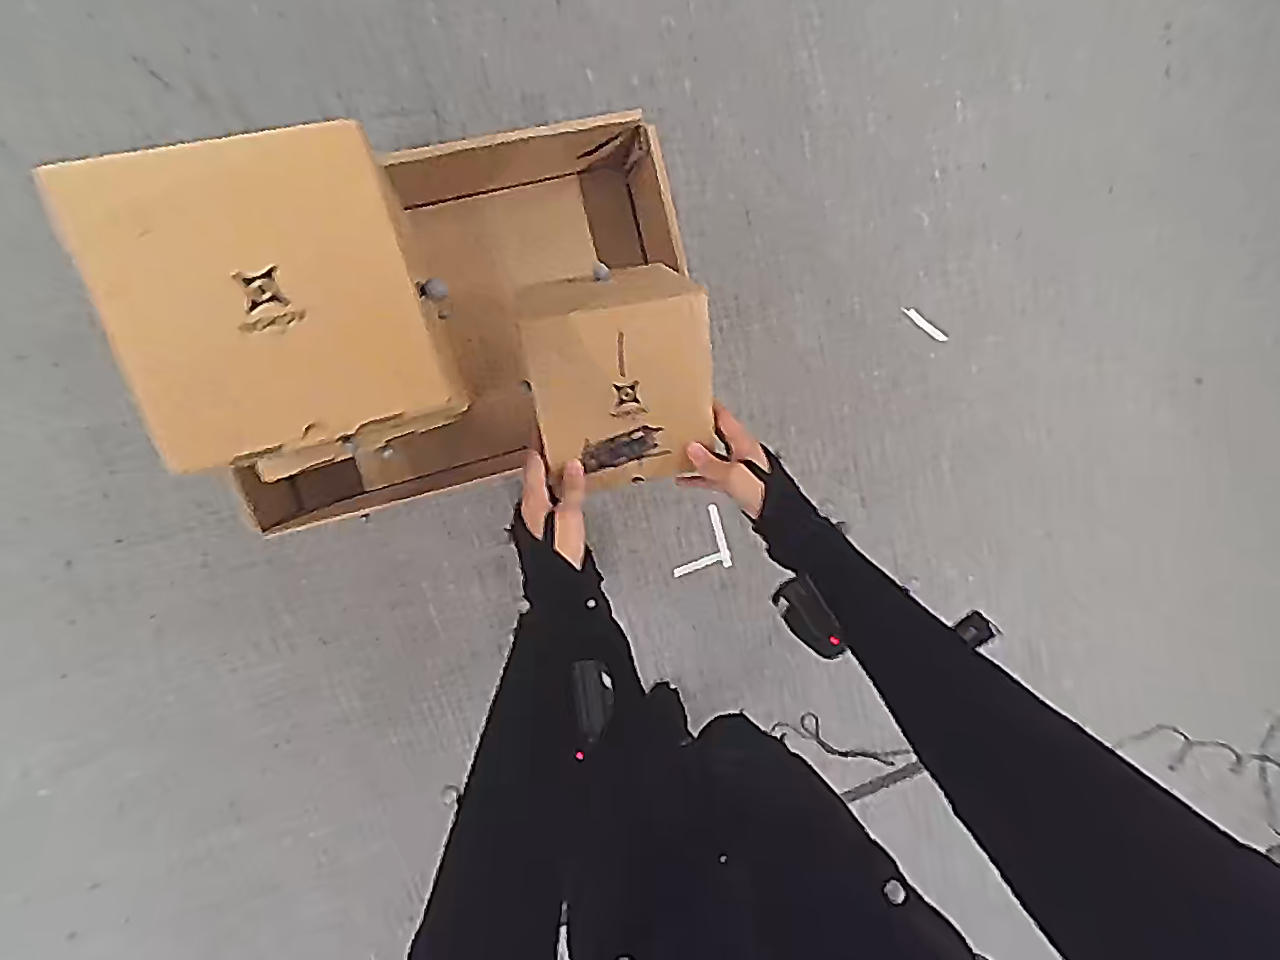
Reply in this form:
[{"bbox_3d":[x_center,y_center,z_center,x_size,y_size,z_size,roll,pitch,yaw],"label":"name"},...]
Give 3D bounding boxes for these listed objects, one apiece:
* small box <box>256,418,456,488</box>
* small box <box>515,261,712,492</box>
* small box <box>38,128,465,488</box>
[{"bbox_3d":[-0.298,-0.109,0.542,0.168,0.176,0.179,-22,103,-11],"label":"small box"},{"bbox_3d":[-0.031,-0.115,0.561,0.168,0.176,0.179,-12,121,-8],"label":"small box"},{"bbox_3d":[-0.235,-0.109,0.389,0.168,0.176,0.179,-19,102,-12],"label":"small box"}]
